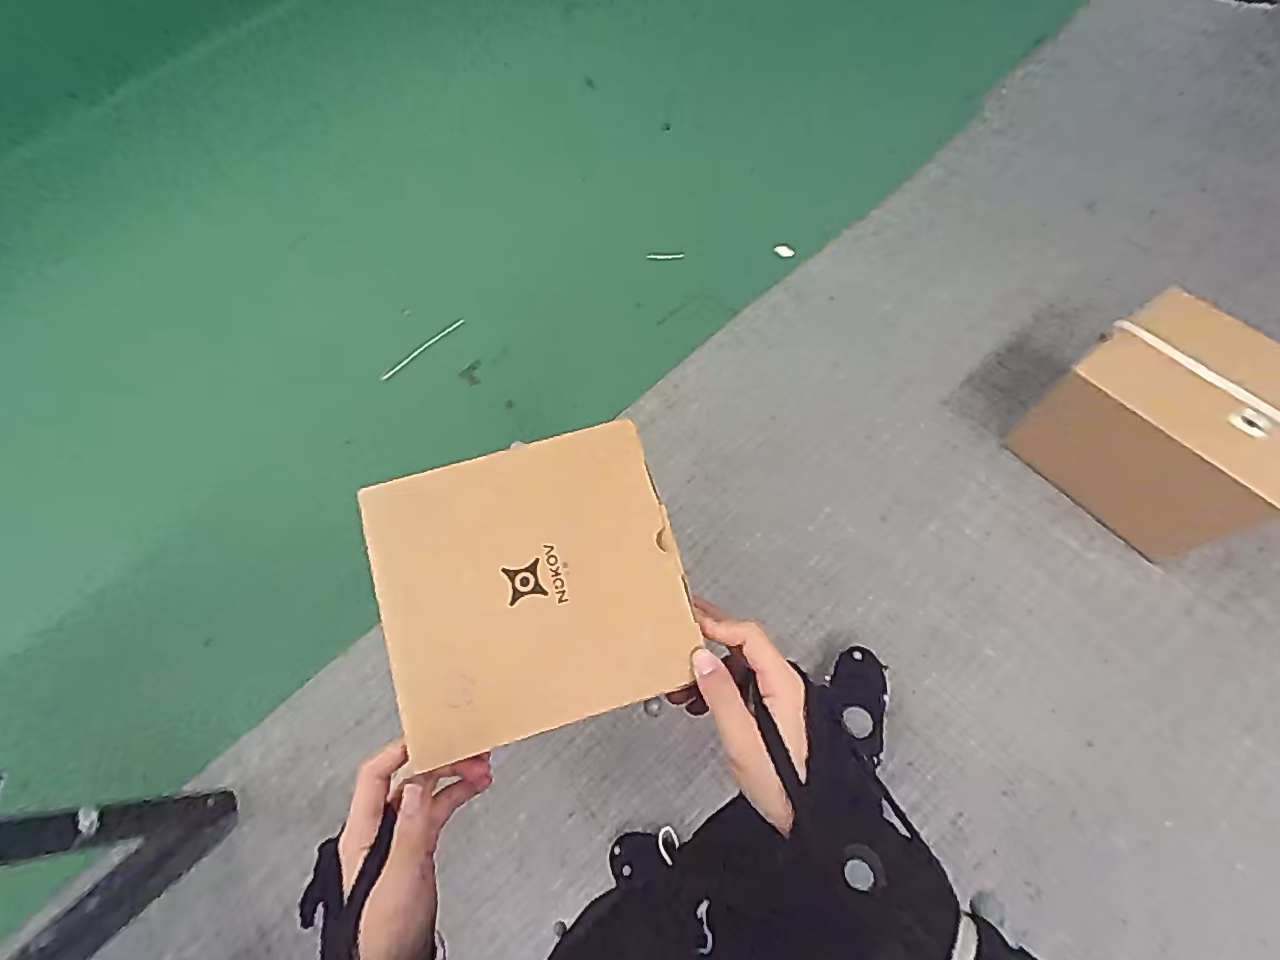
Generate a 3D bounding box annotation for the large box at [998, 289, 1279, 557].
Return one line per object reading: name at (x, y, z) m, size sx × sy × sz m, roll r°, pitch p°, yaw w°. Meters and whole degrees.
large box at (1.093, -0.112, 1.145) m, size 0.320 × 0.320 × 0.408 m, roll -37°, pitch 67°, yaw -9°
